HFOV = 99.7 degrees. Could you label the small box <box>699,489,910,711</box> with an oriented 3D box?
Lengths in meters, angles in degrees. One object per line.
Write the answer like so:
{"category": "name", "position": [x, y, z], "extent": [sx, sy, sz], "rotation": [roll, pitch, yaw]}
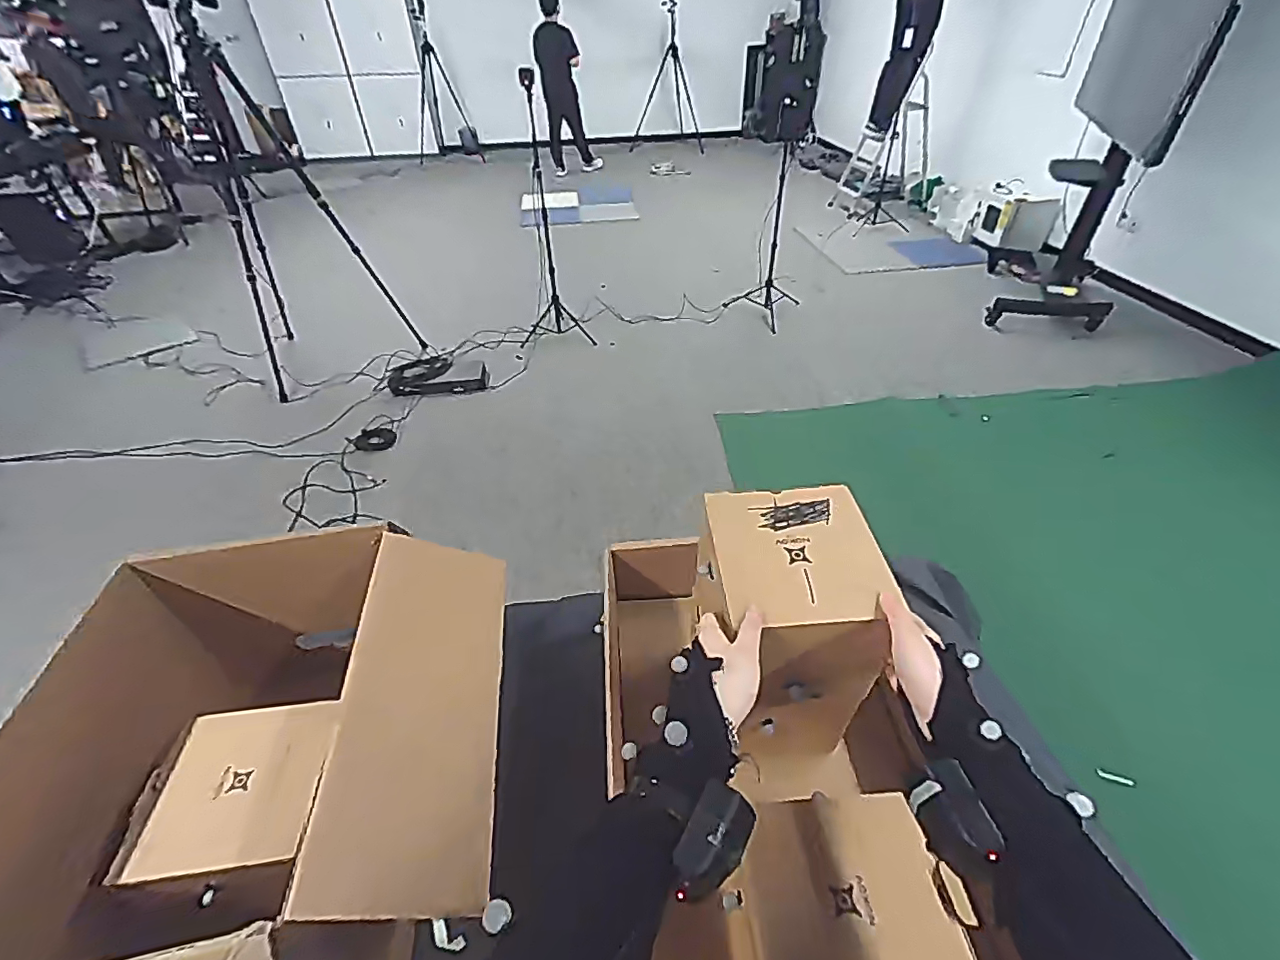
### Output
{"category": "small box", "position": [0.160, 0.131, 0.601], "extent": [0.168, 0.176, 0.179], "rotation": [-4, 44, -2]}

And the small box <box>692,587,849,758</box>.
{"category": "small box", "position": [0.164, 0.250, 0.715], "extent": [0.179, 0.176, 0.168], "rotation": [-4, 43, 0]}
